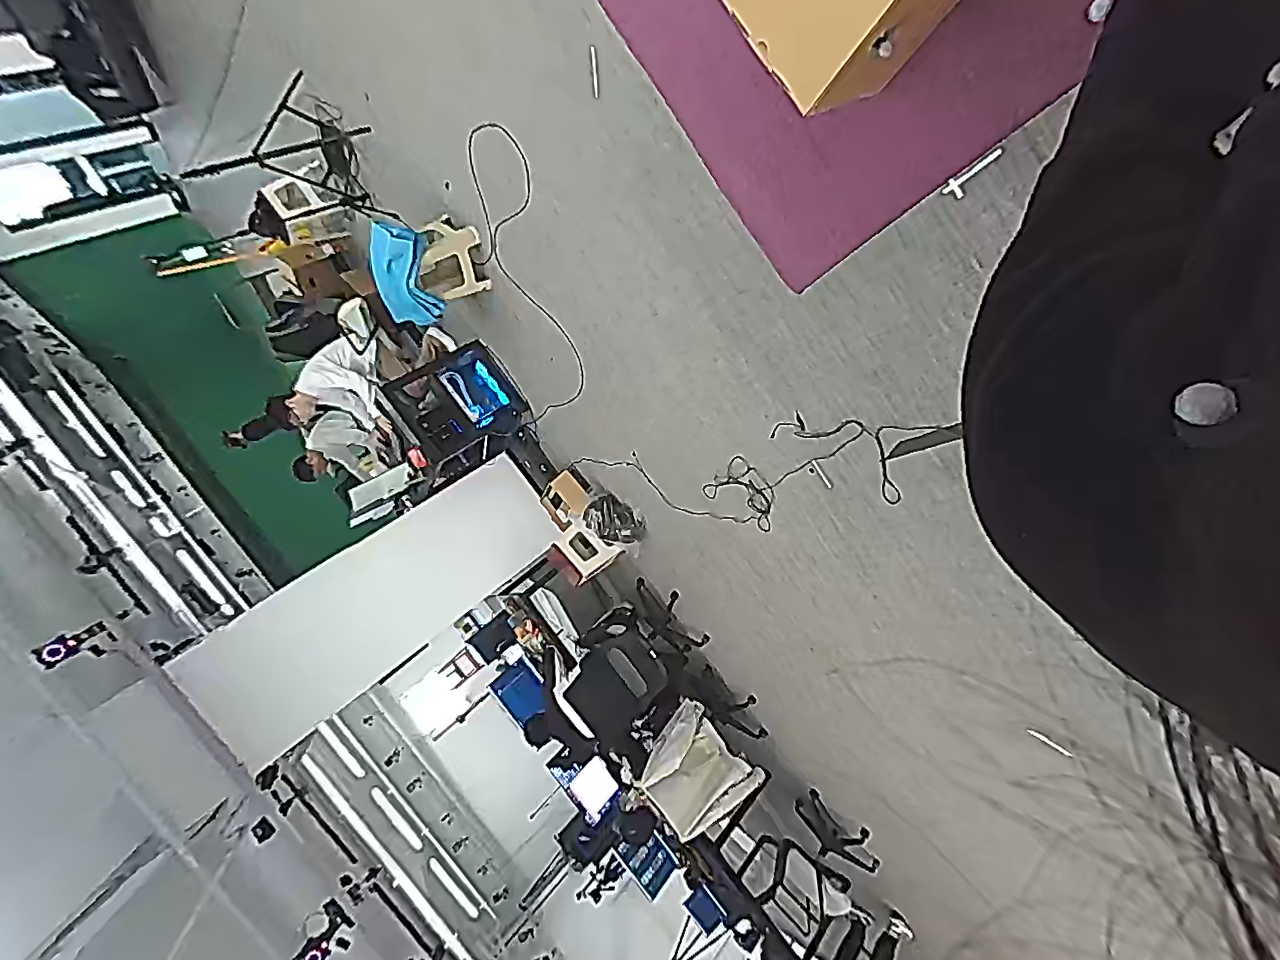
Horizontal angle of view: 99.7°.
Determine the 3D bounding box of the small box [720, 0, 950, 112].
[{"bbox_3d":[0.215,-0.522,0.538,0.168,0.176,0.179,53,152,-1],"label":"small box"}]
